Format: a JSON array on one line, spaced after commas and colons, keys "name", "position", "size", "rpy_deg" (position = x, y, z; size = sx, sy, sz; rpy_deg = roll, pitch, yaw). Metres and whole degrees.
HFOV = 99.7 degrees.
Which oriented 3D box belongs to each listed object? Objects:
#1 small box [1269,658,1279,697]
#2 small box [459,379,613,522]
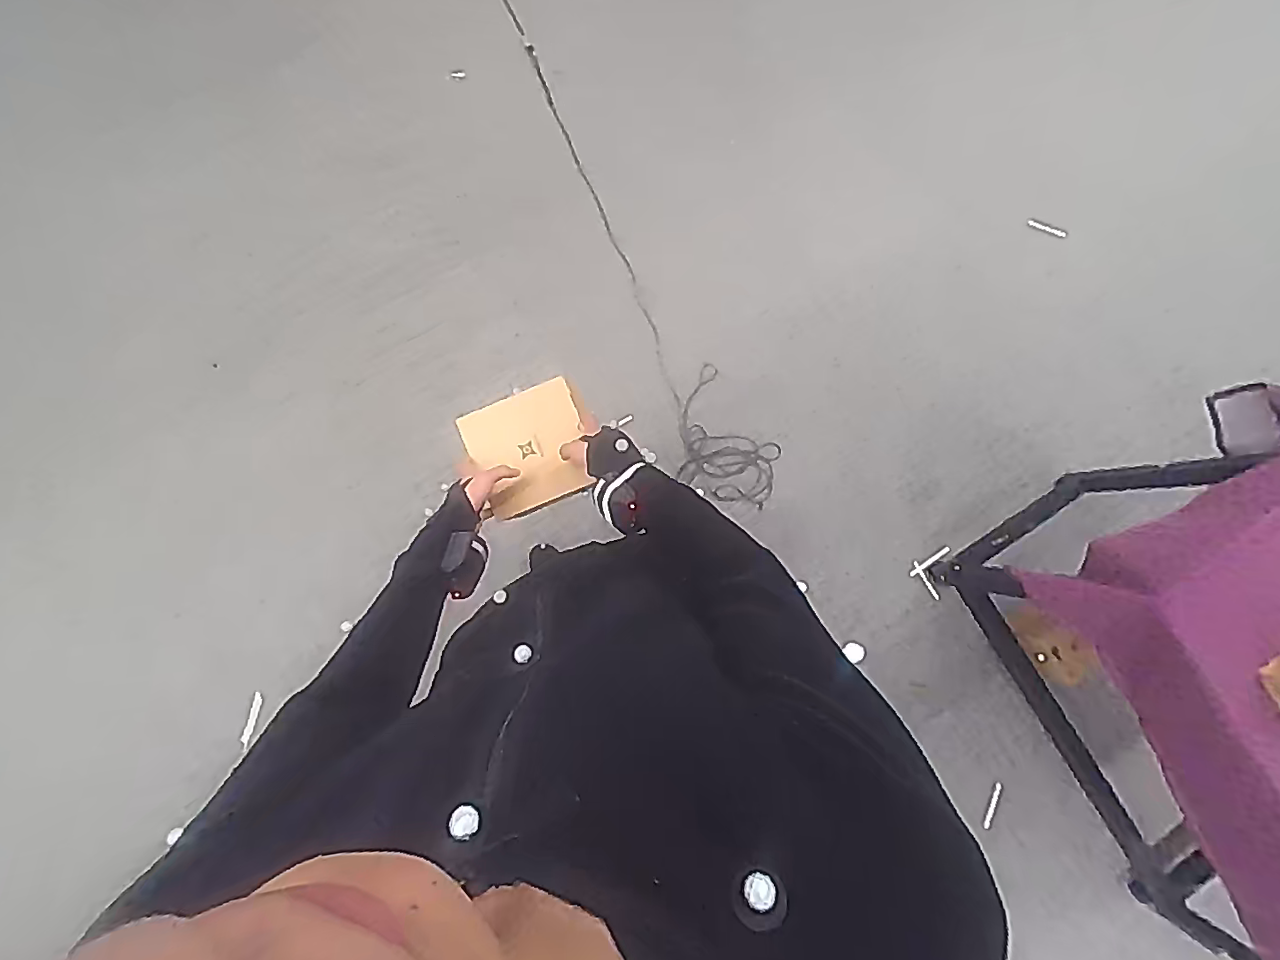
[{"name": "small box", "position": [1.215, 0.354, 0.876], "size": [0.179, 0.176, 0.168], "rpy_deg": [-31, 88, -4]}, {"name": "small box", "position": [-0.155, -0.042, 0.868], "size": [0.179, 0.176, 0.168], "rpy_deg": [-22, 90, 2]}]
